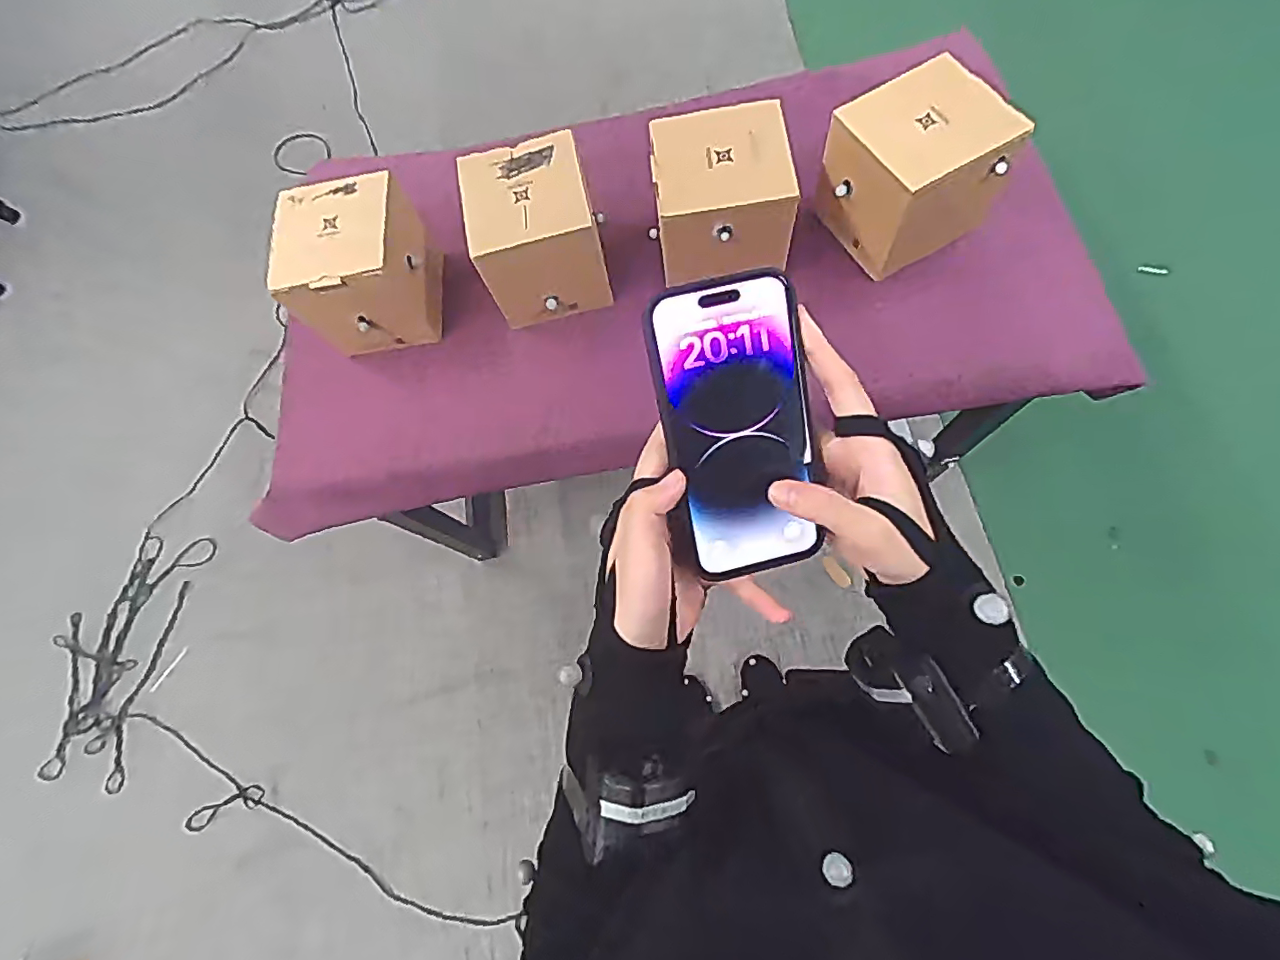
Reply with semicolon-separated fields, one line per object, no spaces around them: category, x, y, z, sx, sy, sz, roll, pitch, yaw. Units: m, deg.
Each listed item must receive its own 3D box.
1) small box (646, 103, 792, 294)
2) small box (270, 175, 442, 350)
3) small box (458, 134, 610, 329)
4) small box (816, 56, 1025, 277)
small box;0.109;-0.387;0.772;0.179;0.176;0.168;-6;72;5
small box;-0.412;-0.312;0.814;0.168;0.176;0.179;-8;71;5
small box;-0.149;-0.355;0.794;0.168;0.176;0.179;-13;71;3
small box;0.364;-0.420;0.748;0.179;0.176;0.168;-29;70;-3
